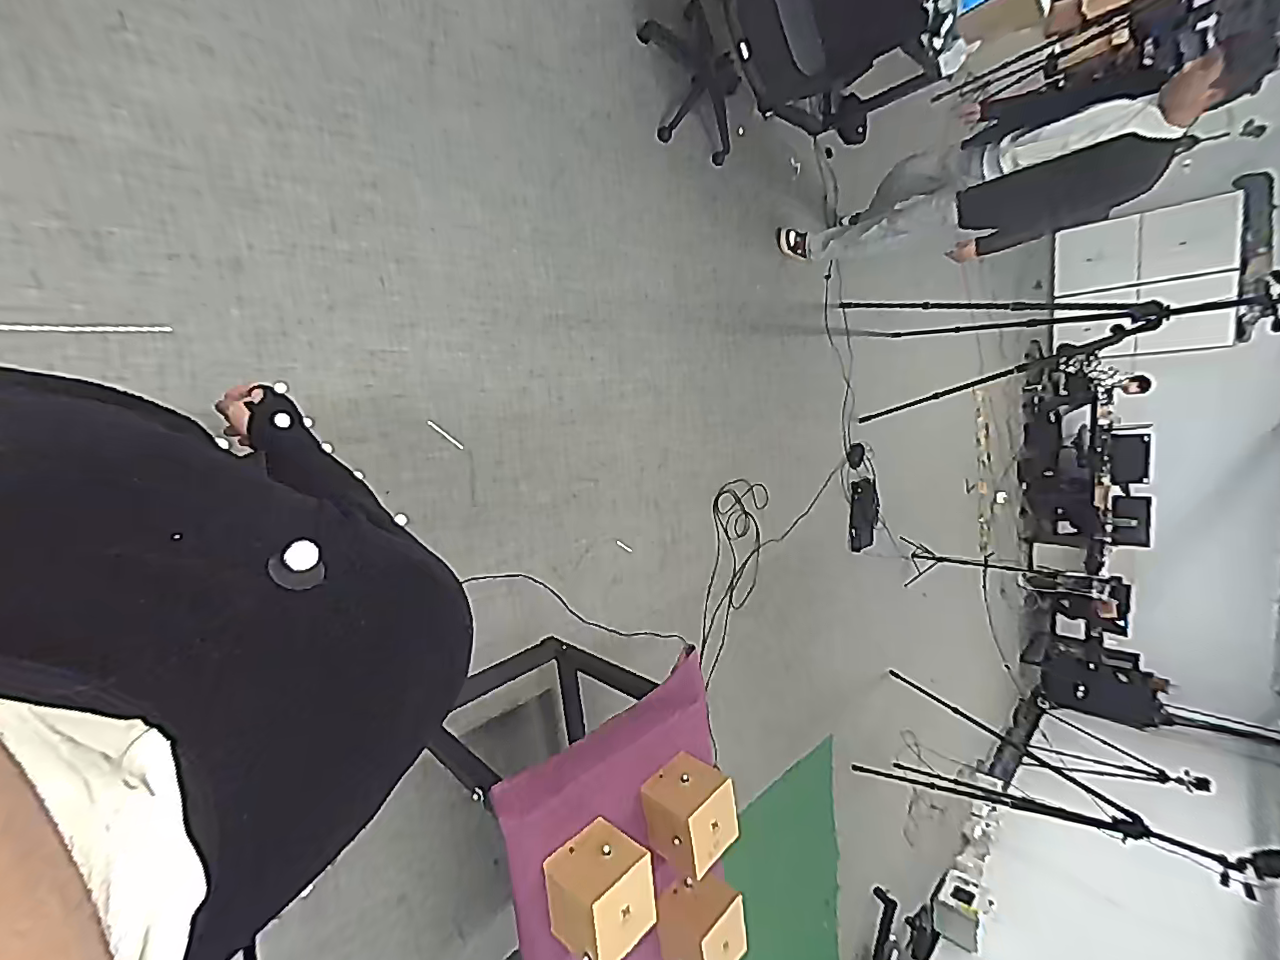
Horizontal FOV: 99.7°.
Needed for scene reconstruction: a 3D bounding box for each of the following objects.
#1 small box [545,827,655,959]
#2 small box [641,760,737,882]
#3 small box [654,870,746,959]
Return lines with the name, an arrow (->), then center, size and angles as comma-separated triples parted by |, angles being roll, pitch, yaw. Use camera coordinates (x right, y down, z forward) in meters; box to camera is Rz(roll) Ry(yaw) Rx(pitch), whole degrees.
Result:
small box -> -0.088, 0.887, 1.158 | 0.168, 0.176, 0.179 | -14, 102, -44
small box -> 0.119, 0.836, 1.355 | 0.168, 0.176, 0.179 | -18, 105, -41
small box -> 0.154, 1.168, 1.409 | 0.168, 0.176, 0.179 | -16, 102, -43
